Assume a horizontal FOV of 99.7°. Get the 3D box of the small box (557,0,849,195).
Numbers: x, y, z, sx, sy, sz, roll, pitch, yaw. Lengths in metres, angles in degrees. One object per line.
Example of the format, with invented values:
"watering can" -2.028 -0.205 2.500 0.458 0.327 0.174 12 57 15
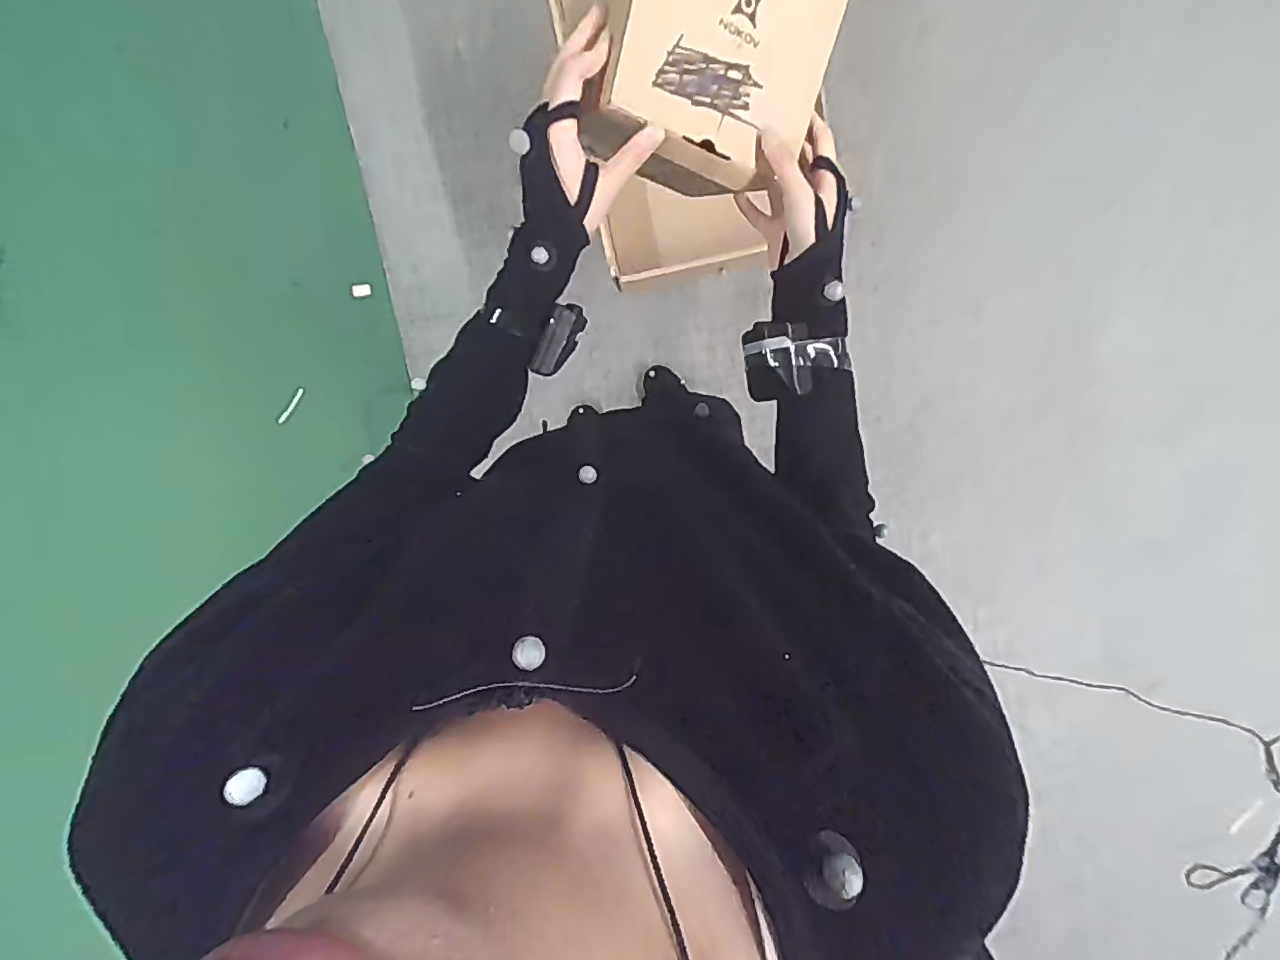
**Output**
"small box" 0.040 -0.357 0.451 0.168 0.176 0.179 7 109 -28
